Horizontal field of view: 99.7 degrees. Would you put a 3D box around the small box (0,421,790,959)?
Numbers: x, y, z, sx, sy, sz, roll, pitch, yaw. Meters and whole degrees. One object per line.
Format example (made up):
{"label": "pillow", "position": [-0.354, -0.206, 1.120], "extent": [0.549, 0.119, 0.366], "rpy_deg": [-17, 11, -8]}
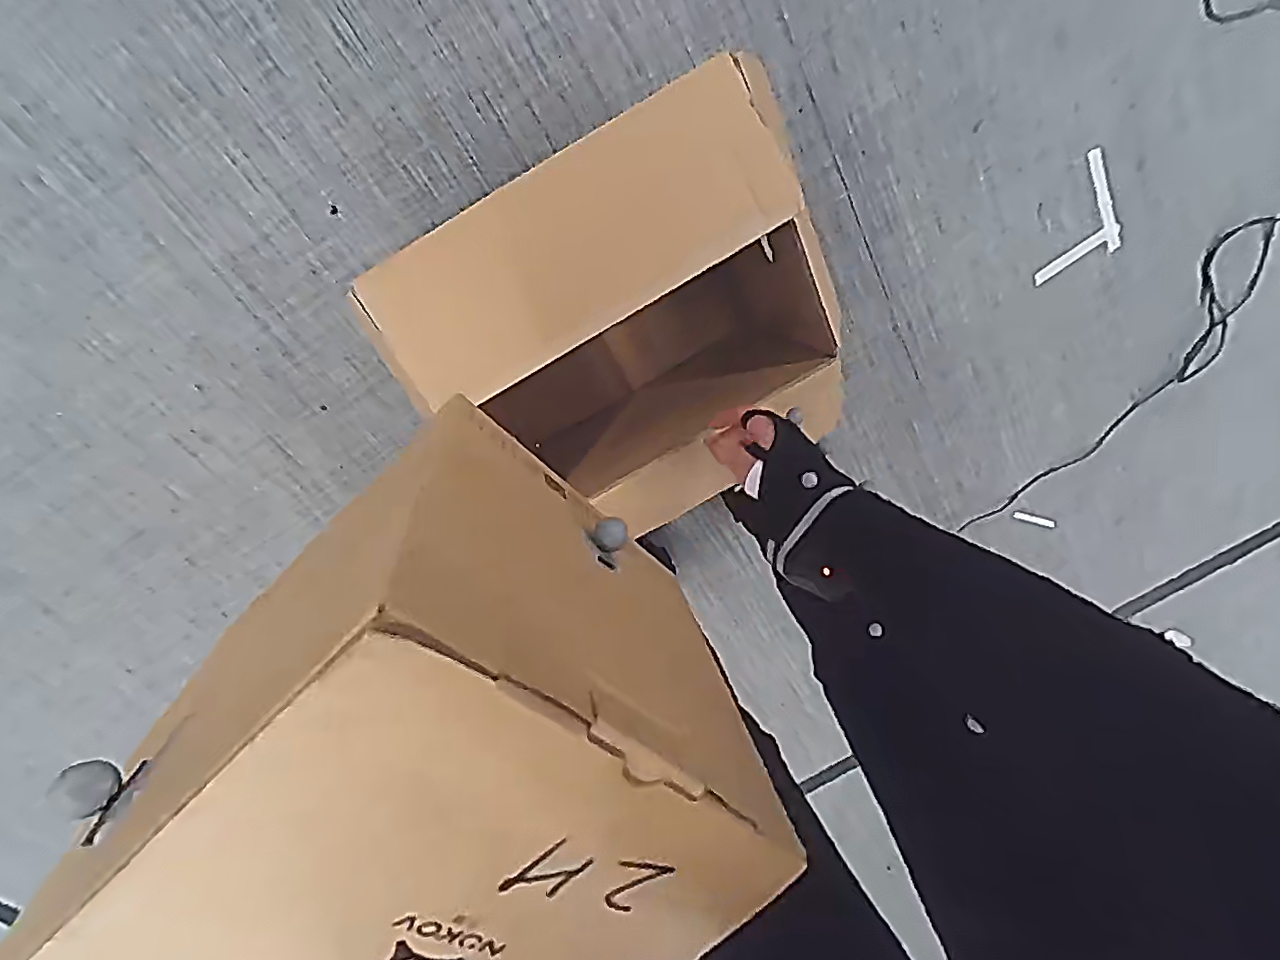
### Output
{"label": "small box", "position": [-0.078, 0.105, 0.232], "extent": [0.179, 0.176, 0.168], "rpy_deg": [-43, 116, 7]}
